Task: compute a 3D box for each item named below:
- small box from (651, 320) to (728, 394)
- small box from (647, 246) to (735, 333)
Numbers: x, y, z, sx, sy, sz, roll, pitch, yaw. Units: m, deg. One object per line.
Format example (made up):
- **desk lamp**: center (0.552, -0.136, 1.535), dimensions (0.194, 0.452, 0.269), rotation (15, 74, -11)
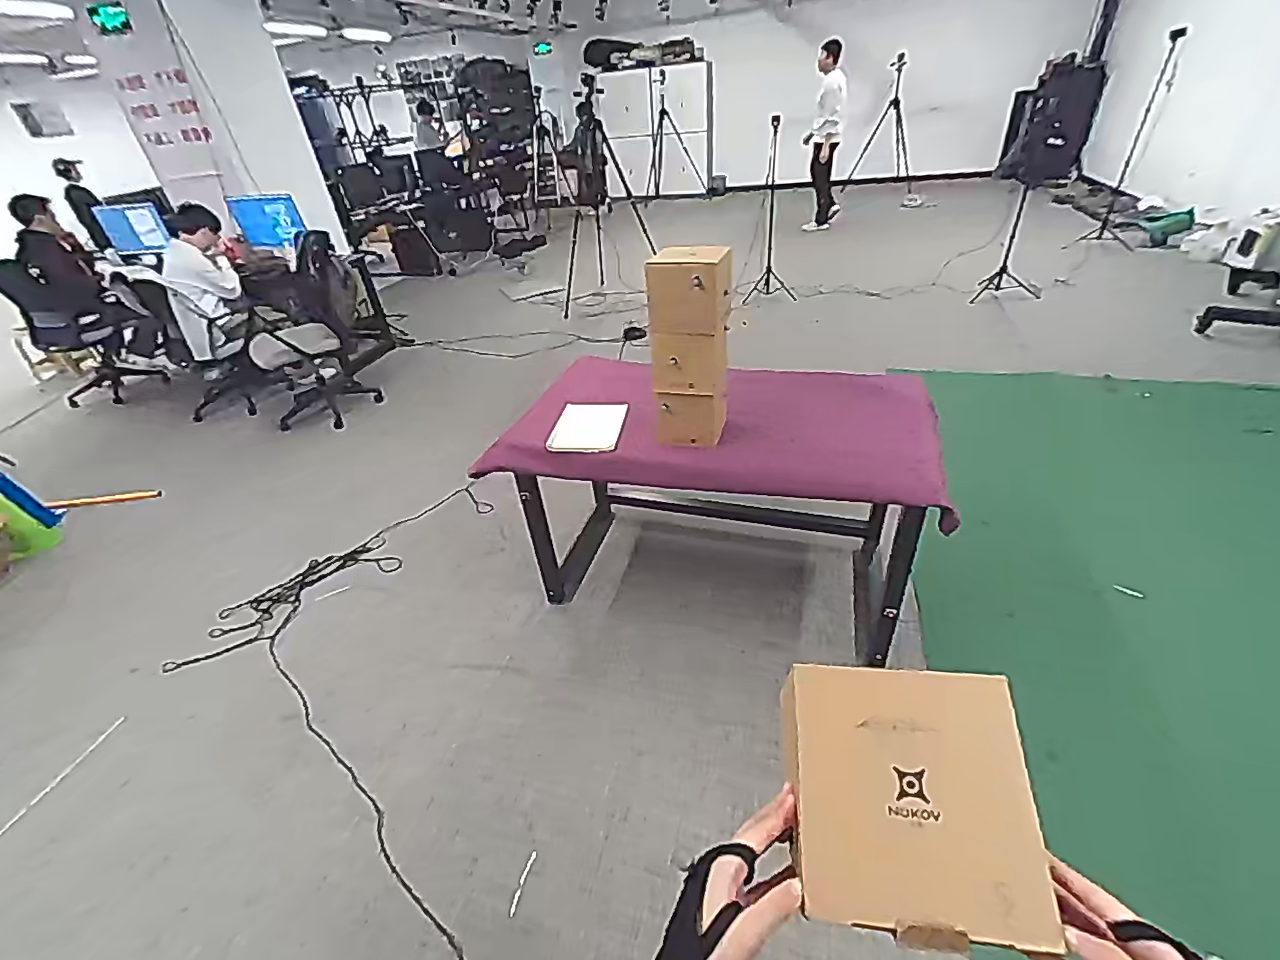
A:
- **small box**: center (0.138, -0.339, 1.437), dimensions (0.168, 0.176, 0.179), rotation (7, 36, 18)
- **small box**: center (0.130, -0.470, 1.336), dimensions (0.179, 0.176, 0.168), rotation (8, 36, 20)
